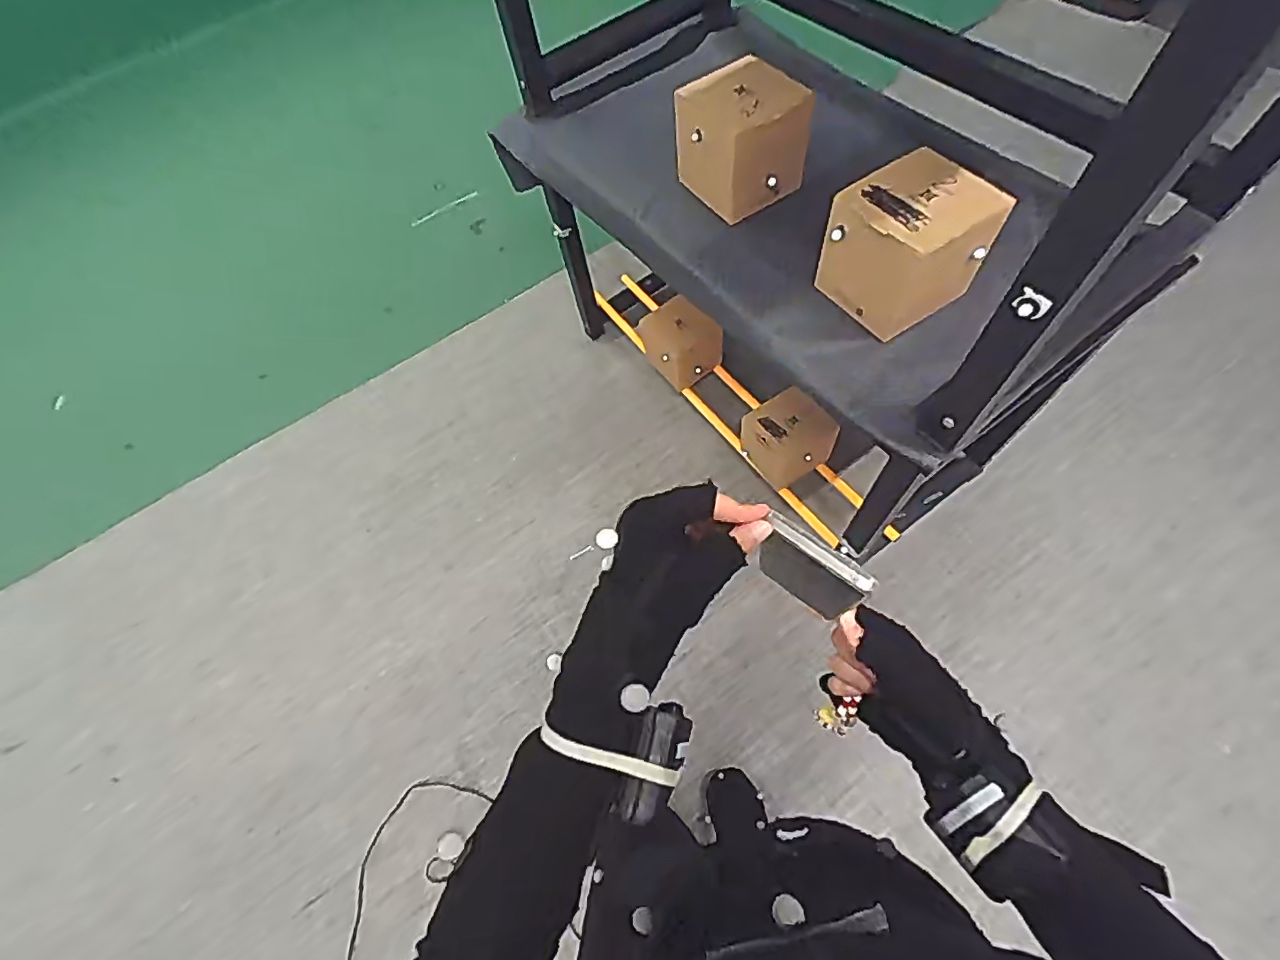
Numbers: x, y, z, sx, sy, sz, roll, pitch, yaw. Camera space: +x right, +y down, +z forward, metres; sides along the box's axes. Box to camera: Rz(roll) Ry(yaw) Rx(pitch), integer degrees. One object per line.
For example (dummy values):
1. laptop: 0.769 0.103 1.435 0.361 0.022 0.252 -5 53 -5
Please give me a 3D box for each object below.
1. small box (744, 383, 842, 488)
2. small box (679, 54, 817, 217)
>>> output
1. small box: 0.386 -0.108 1.394 0.179 0.176 0.168 -32 64 -8
2. small box: 0.187 -0.615 0.975 0.168 0.176 0.179 -32 63 -9
